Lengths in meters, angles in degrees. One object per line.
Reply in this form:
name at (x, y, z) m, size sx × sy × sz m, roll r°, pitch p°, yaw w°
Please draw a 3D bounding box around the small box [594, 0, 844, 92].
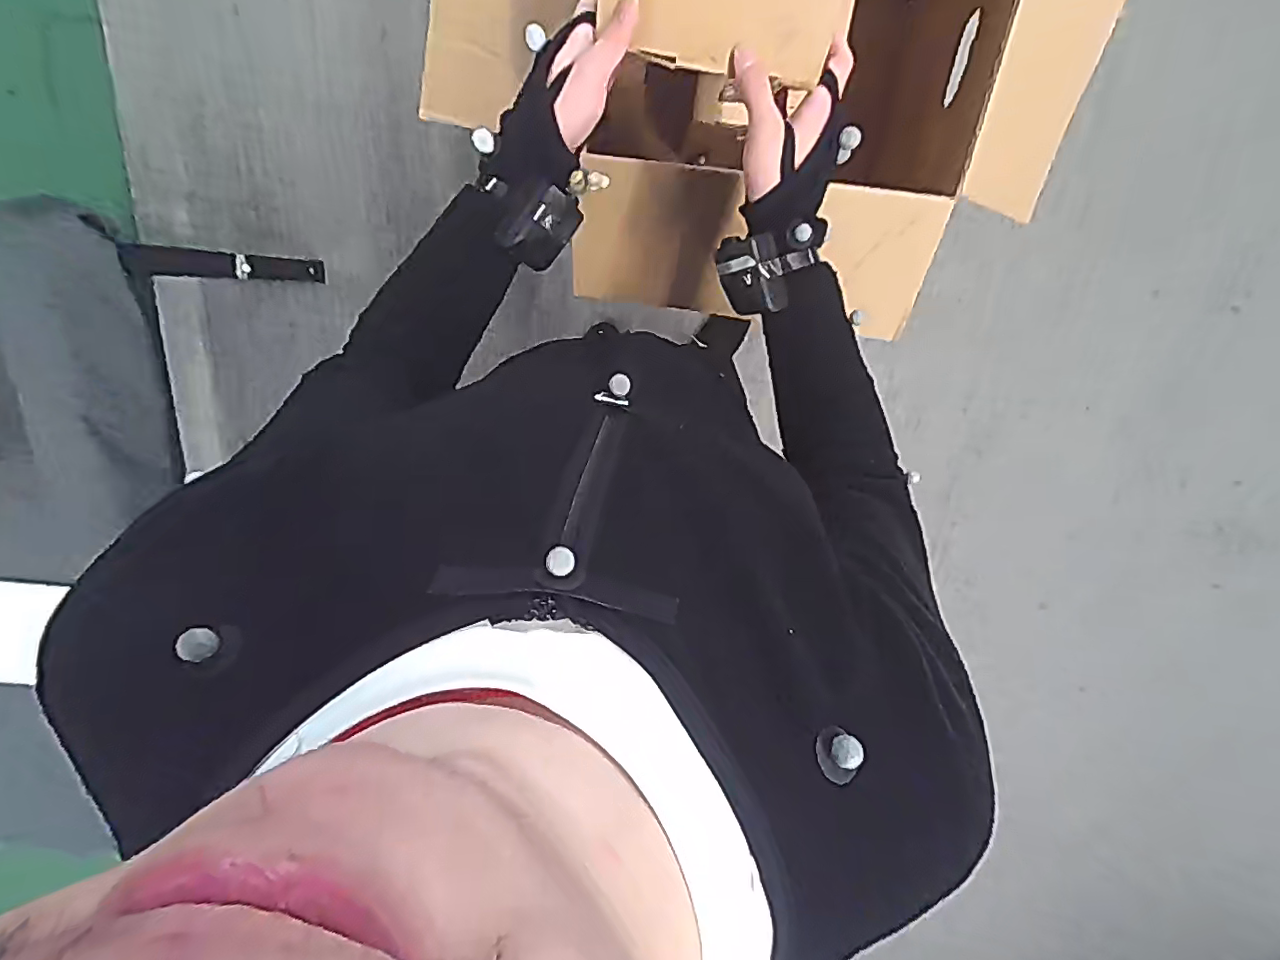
small box at (0.071, -0.402, 0.393) m, size 0.168 × 0.176 × 0.179 m, roll 11°, pitch 126°, yaw 1°
